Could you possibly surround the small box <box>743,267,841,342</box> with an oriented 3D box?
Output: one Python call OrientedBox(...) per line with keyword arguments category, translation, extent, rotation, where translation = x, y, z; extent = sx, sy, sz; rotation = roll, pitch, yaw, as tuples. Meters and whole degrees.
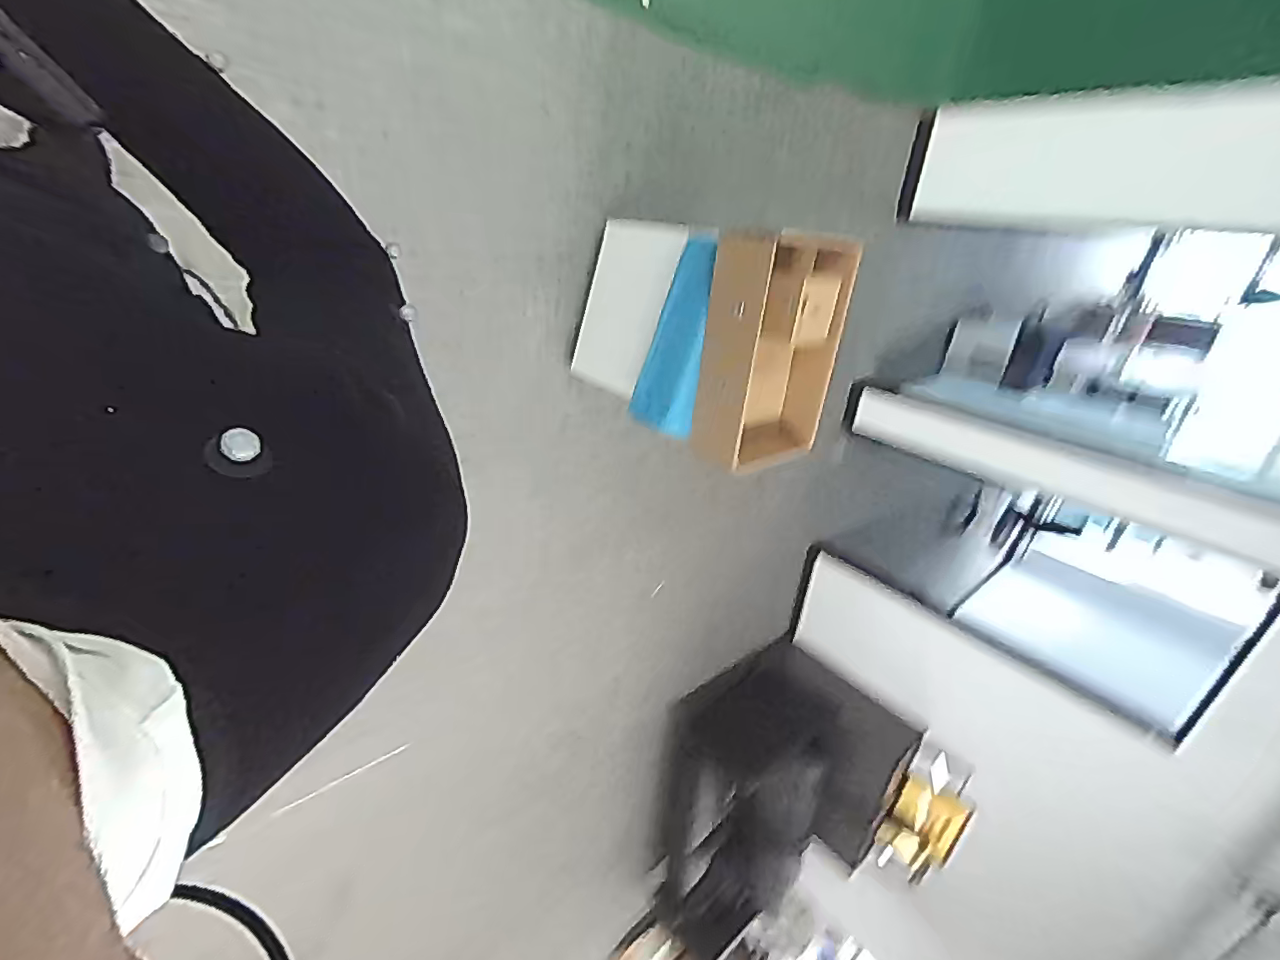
OrientedBox(category="small box", translation=(0.405, -0.476, 1.451), extent=(0.179, 0.176, 0.168), rotation=(-17, 124, -39))
